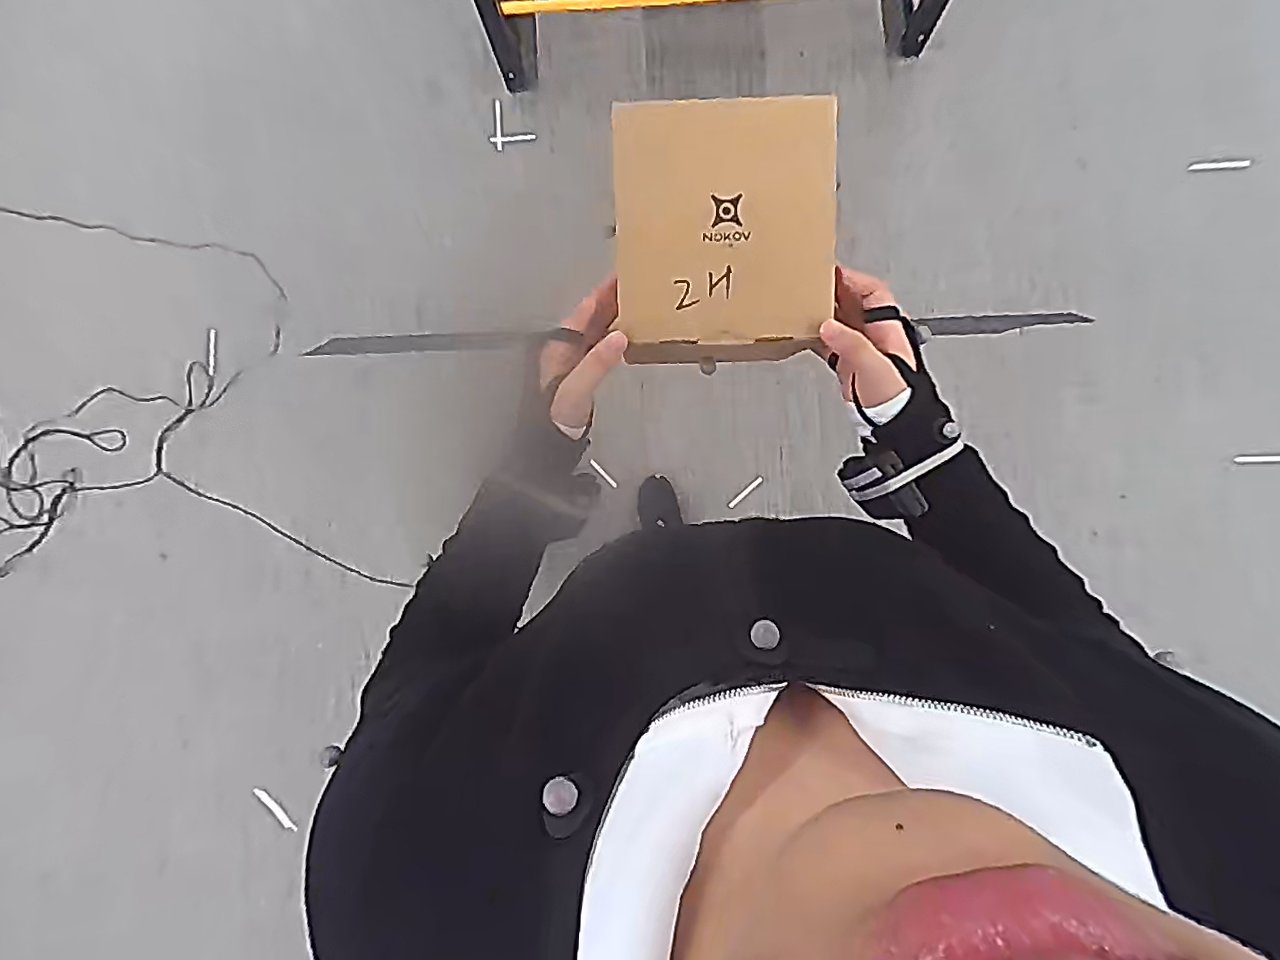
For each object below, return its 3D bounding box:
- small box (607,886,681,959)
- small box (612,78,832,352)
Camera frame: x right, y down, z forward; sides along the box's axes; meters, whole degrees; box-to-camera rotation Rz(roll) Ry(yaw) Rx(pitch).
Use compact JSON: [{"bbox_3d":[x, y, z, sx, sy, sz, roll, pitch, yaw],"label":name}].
[{"bbox_3d":[0.011,1.110,1.274,0.168,0.176,0.179,2,87,3],"label":"small box"},{"bbox_3d":[0.060,-0.215,0.483,0.168,0.176,0.179,-1,97,1],"label":"small box"}]
